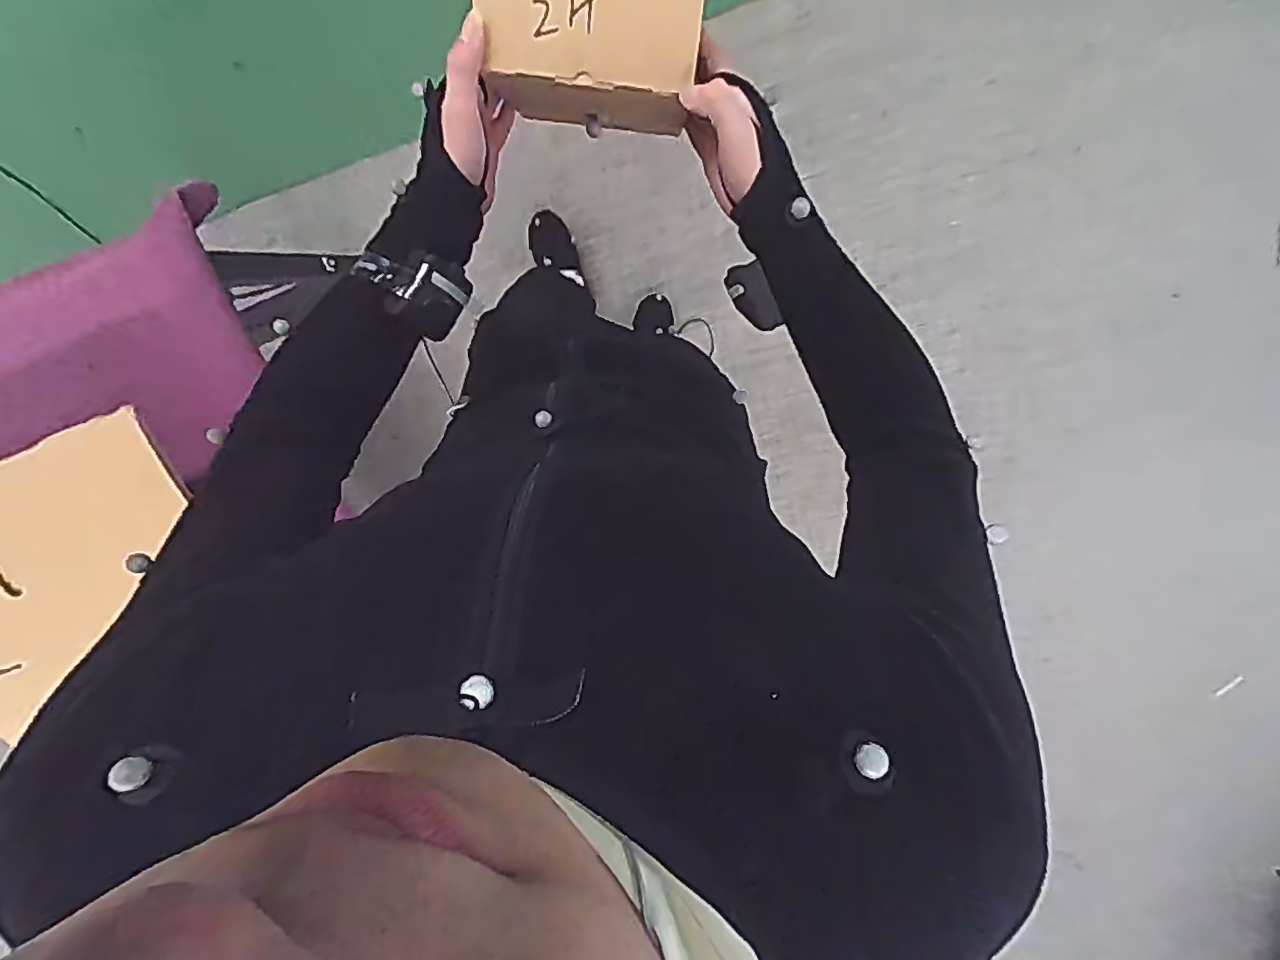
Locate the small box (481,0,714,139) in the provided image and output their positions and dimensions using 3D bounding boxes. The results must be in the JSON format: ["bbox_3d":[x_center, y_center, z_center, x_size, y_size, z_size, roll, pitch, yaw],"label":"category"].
[{"bbox_3d":[-0.026,-0.403,0.442,0.168,0.176,0.179,6,114,-2],"label":"small box"}]
